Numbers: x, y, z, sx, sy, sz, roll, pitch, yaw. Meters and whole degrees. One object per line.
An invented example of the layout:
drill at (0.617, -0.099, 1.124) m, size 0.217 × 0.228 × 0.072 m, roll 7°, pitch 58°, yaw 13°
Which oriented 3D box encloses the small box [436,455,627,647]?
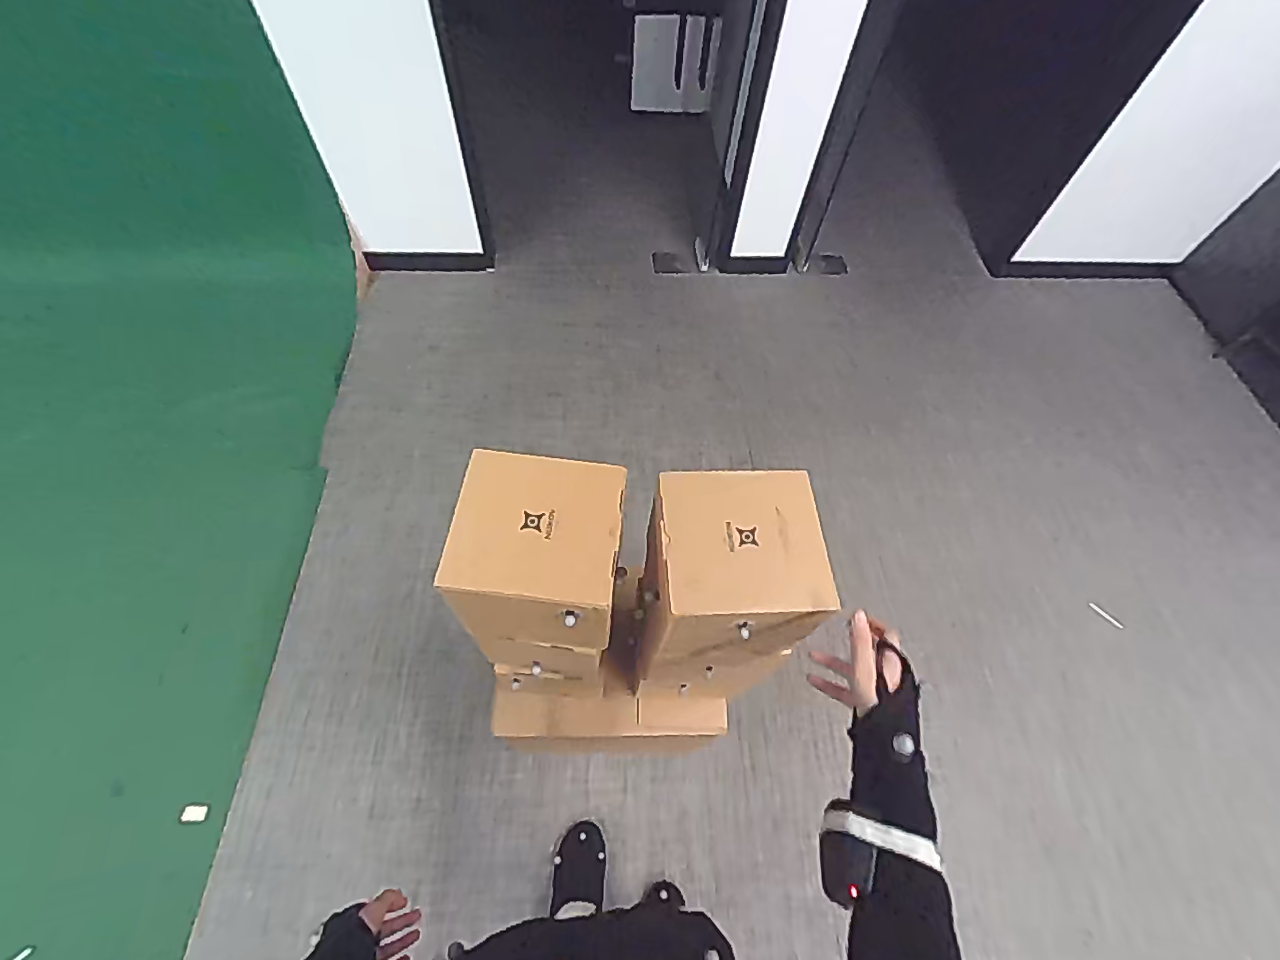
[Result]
small box at (-0.114, 0.091, 0.640) m, size 0.179 × 0.176 × 0.168 m, roll 7°, pitch 59°, yaw -2°
